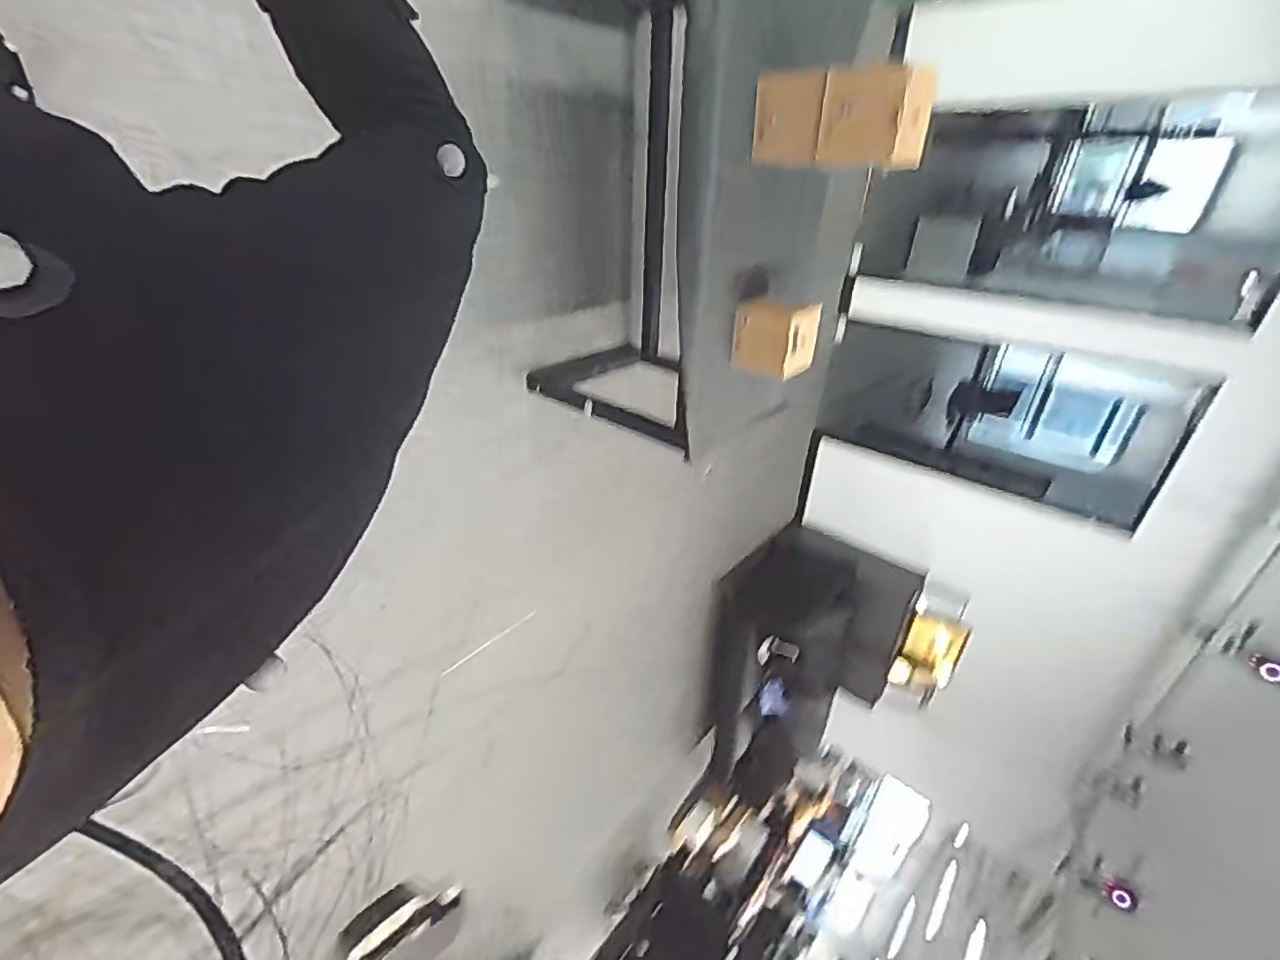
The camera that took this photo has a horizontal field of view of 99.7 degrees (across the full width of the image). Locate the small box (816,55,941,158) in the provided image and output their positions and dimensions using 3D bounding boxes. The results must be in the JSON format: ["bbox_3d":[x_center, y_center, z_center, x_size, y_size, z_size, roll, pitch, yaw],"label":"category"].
[{"bbox_3d":[0.494,-0.778,1.133,0.179,0.176,0.168,-33,135,-39],"label":"small box"}]

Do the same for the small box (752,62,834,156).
[{"bbox_3d":[0.376,-0.838,1.228,0.179,0.176,0.168,-34,135,-38],"label":"small box"}]

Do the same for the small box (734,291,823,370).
[{"bbox_3d":[0.376,-0.416,1.490,0.179,0.176,0.168,-31,134,-41],"label":"small box"}]
